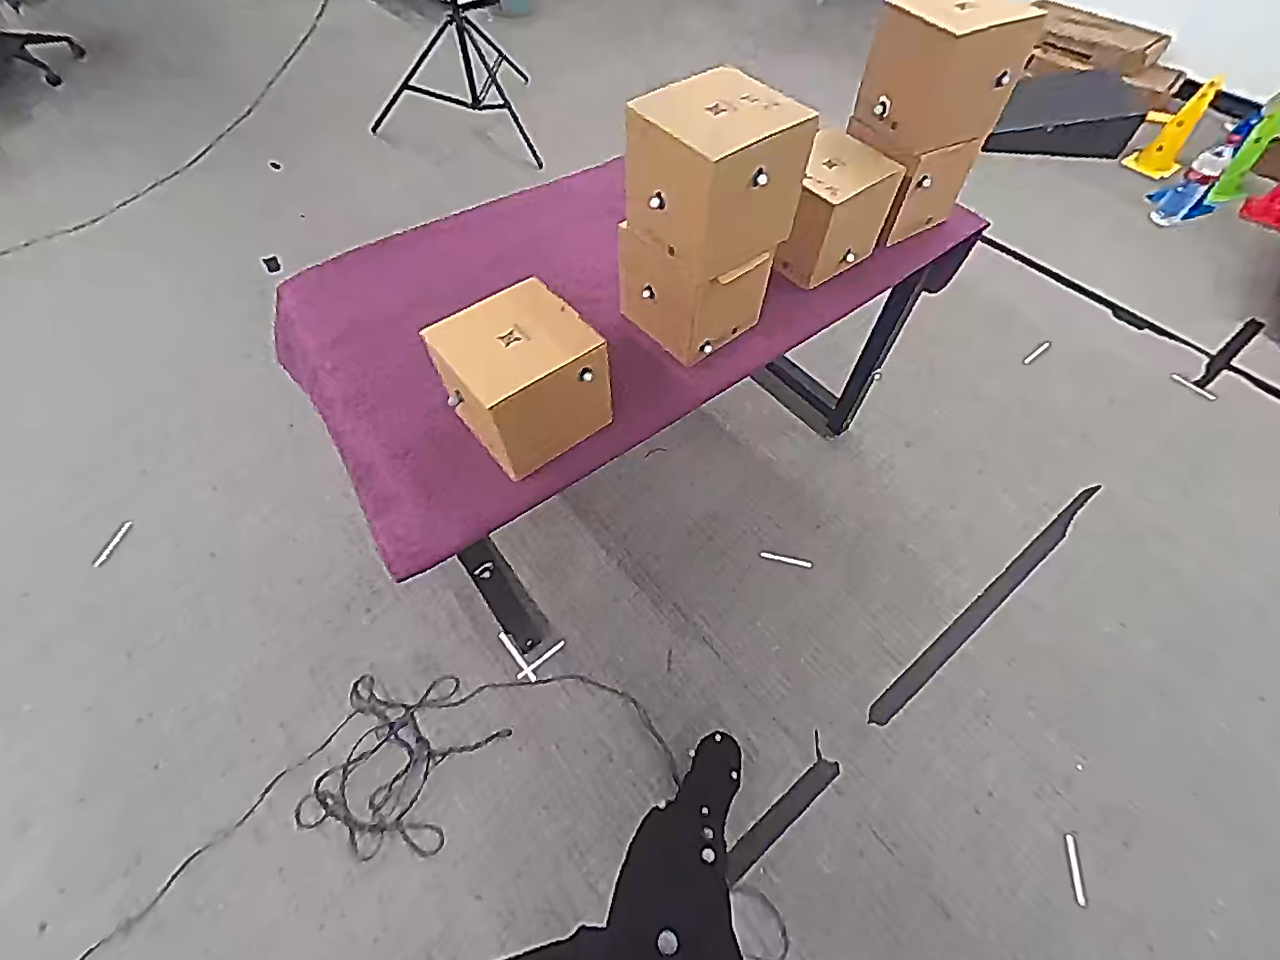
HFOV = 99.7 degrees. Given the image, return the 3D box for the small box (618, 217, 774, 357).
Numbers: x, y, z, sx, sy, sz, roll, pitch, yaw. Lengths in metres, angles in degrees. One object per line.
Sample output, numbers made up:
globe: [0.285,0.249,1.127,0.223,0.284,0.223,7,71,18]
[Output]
small box: [0.083,-0.322,0.858,0.168,0.176,0.179,-36,65,-20]

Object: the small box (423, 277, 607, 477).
small box: [-0.159,-0.136,0.744,0.179,0.176,0.168,-35,65,-20]

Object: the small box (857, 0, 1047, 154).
small box: [0.490,-0.669,0.881,0.179,0.176,0.168,-23,60,-12]

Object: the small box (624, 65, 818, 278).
small box: [0.097,-0.400,0.713,0.179,0.176,0.168,-33,65,-19]
